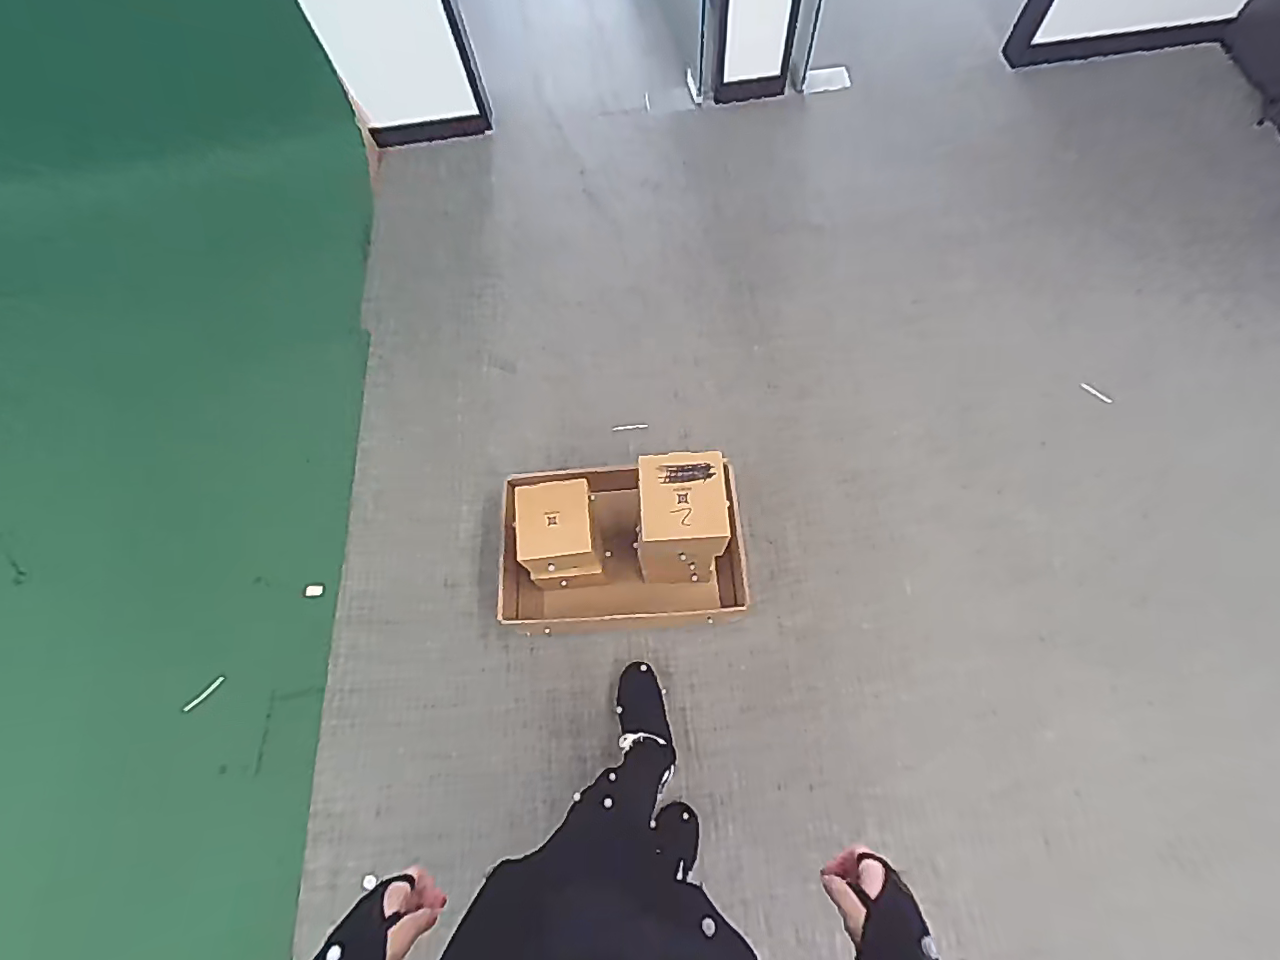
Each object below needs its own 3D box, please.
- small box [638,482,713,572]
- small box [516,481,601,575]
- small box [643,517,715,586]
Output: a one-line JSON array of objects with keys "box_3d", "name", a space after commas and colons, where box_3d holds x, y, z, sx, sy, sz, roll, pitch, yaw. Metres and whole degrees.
[{"box_3d": [0.083, 0.116, 1.259, 0.168, 0.176, 0.179, -1, 68, 3], "name": "small box"}, {"box_3d": [-0.189, 0.121, 1.278, 0.168, 0.176, 0.179, -8, 68, 0], "name": "small box"}, {"box_3d": [0.099, 0.178, 1.408, 0.179, 0.176, 0.168, -2, 68, 4], "name": "small box"}]
